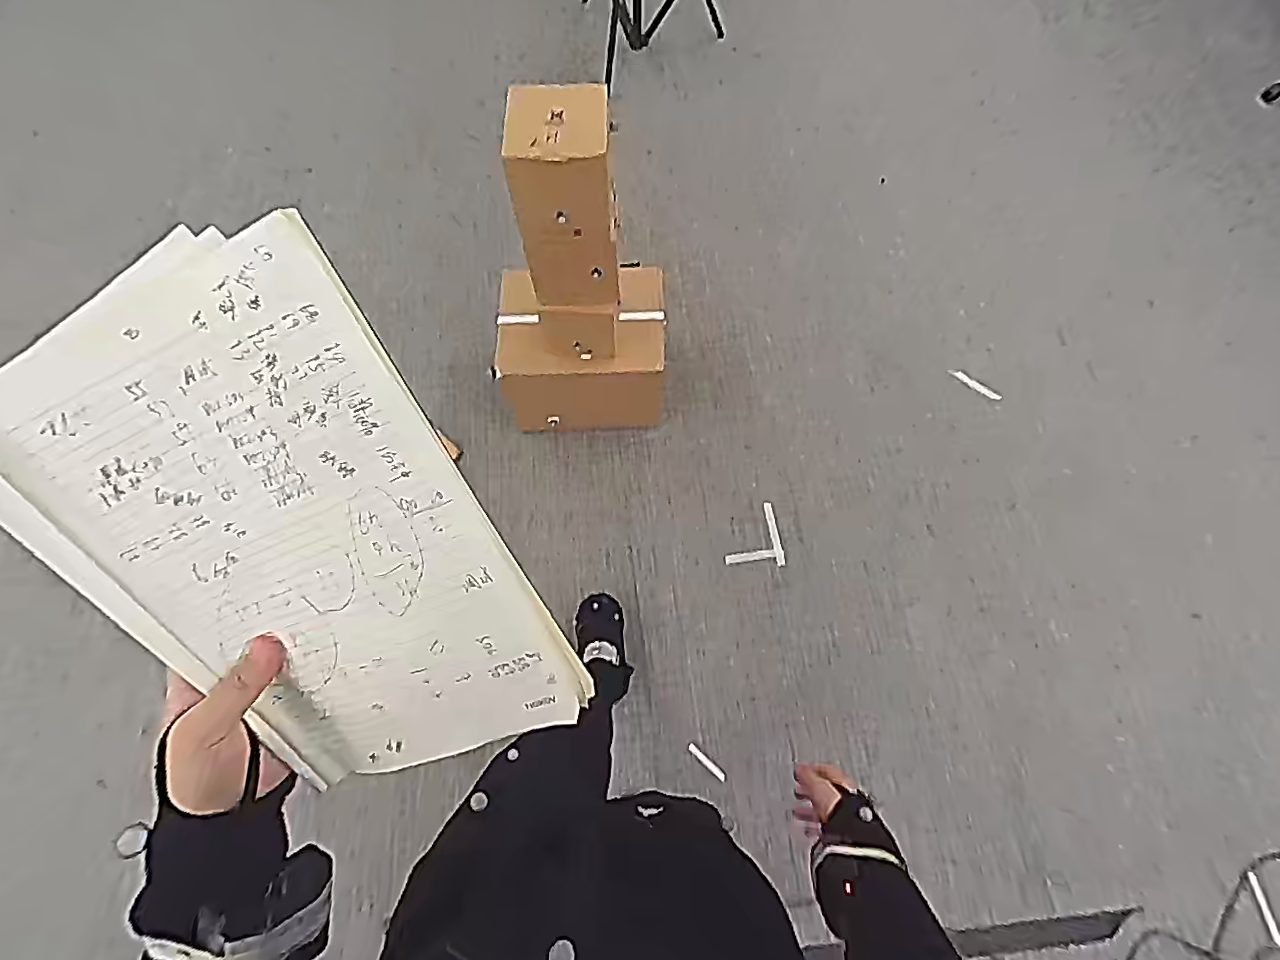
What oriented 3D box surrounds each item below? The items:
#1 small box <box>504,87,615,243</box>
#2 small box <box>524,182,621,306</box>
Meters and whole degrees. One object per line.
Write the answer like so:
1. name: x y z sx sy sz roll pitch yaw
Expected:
1. small box: -0.131 -0.543 0.941 0.168 0.176 0.179 -1 68 0
2. small box: -0.128 -0.471 1.090 0.179 0.176 0.168 -3 68 0
